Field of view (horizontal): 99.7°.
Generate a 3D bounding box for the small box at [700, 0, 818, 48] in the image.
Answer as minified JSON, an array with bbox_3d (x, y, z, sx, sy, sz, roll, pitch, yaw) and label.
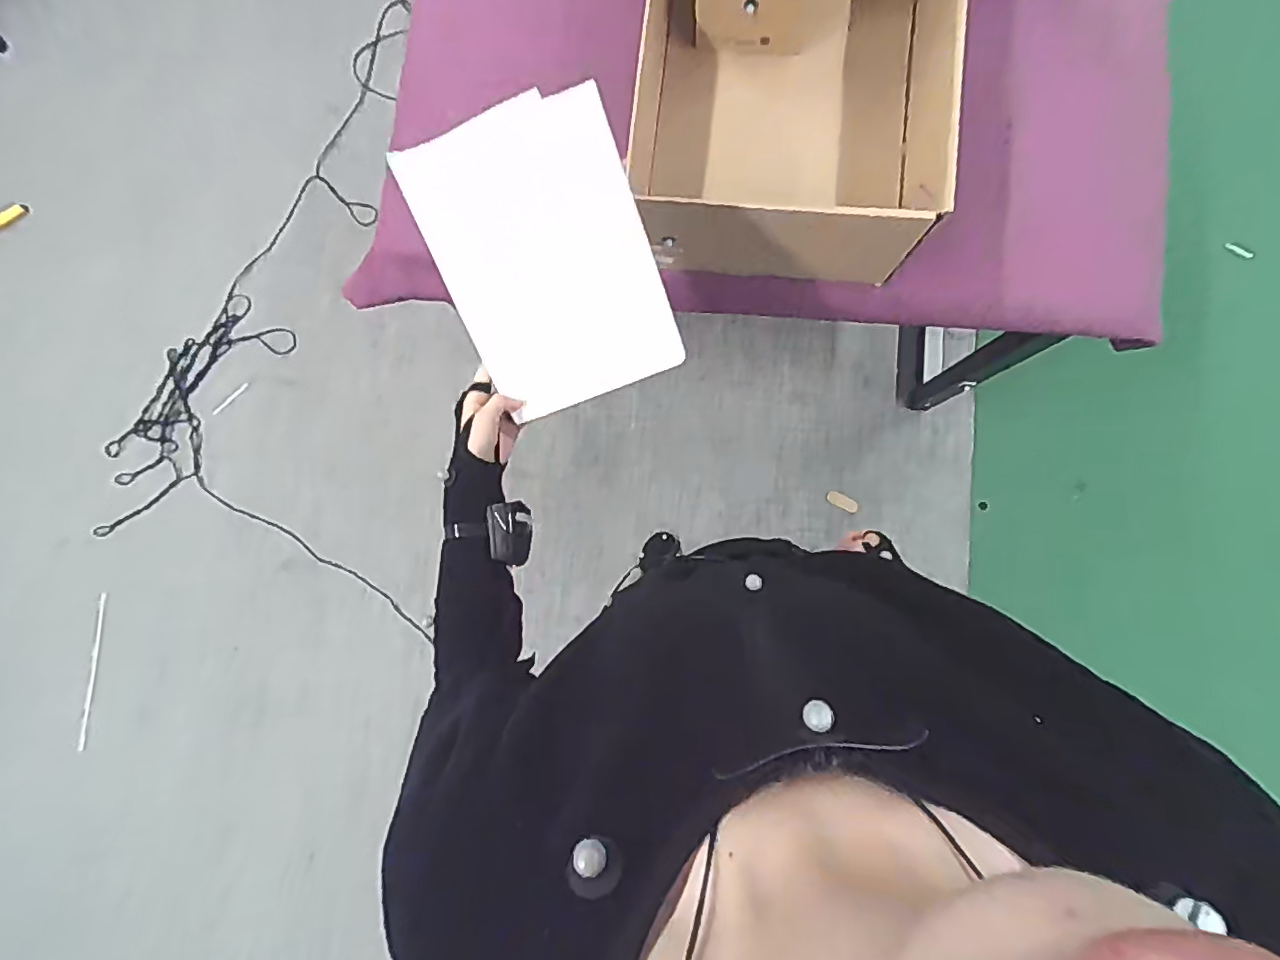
[{"bbox_3d":[0.174,-0.746,0.749,0.168,0.176,0.179,7,86,6],"label":"small box"}]
